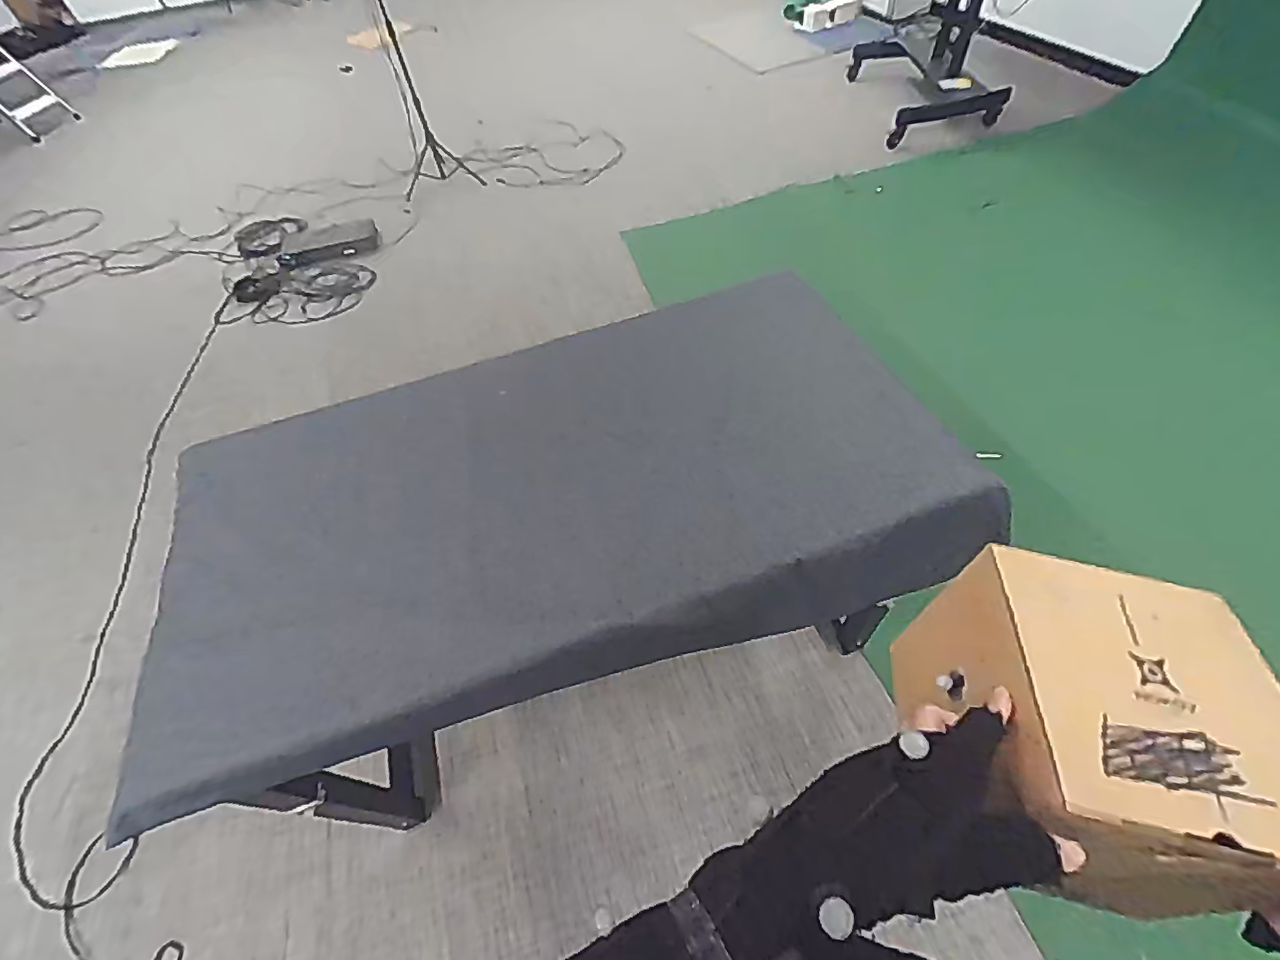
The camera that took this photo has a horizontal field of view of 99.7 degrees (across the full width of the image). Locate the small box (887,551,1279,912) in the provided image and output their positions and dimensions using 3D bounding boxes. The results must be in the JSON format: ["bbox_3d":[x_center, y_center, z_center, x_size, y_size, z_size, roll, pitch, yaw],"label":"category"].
[{"bbox_3d":[0.302,0.186,0.397,0.168,0.176,0.179,14,47,4],"label":"small box"}]
